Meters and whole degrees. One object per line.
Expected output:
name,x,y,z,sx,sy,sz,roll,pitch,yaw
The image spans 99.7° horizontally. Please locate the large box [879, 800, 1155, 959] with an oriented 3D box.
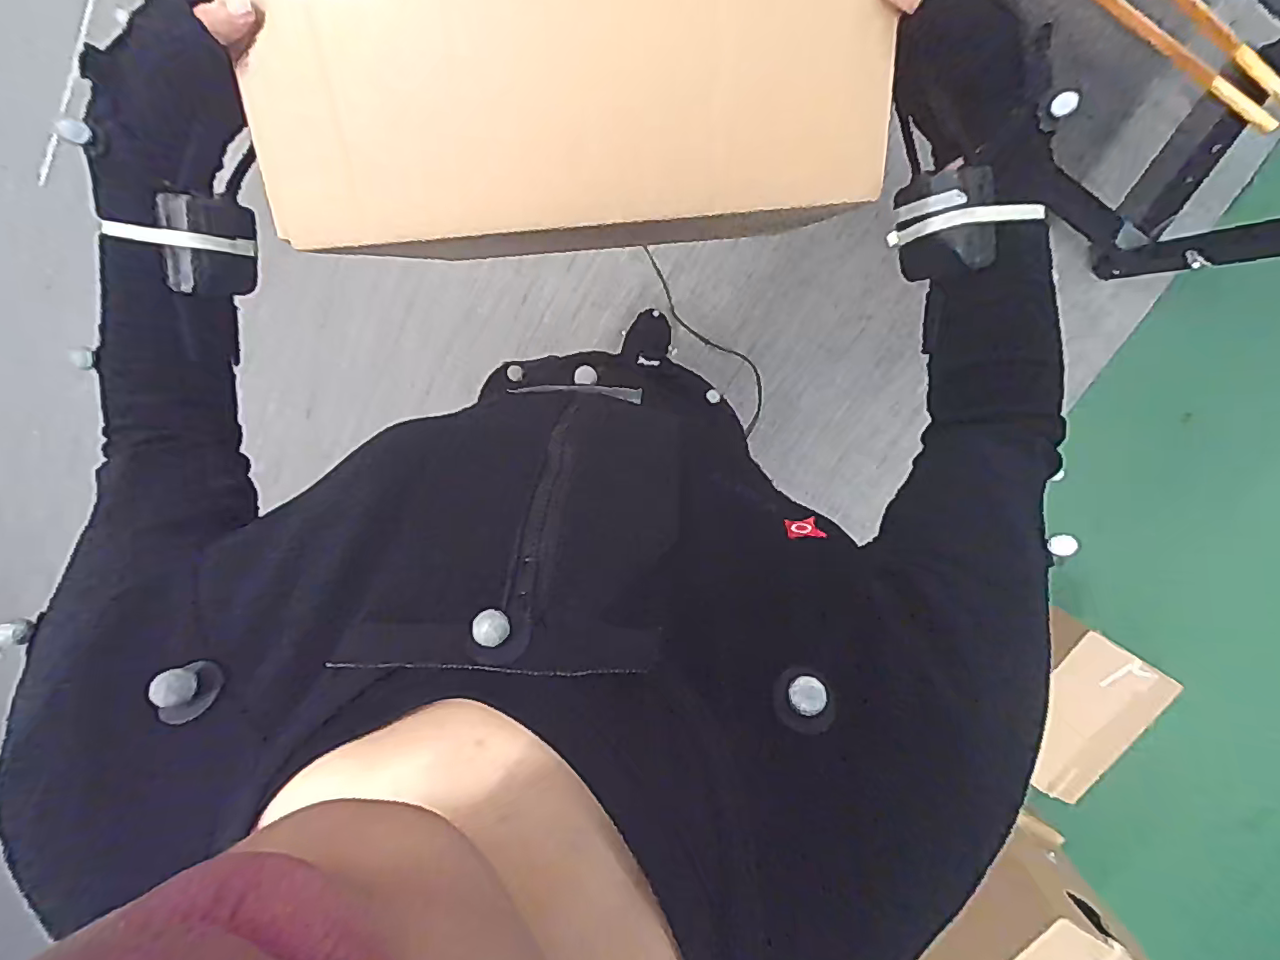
large box,0.866,1.074,1.283,0.320,0.320,0.408,33,103,-6
